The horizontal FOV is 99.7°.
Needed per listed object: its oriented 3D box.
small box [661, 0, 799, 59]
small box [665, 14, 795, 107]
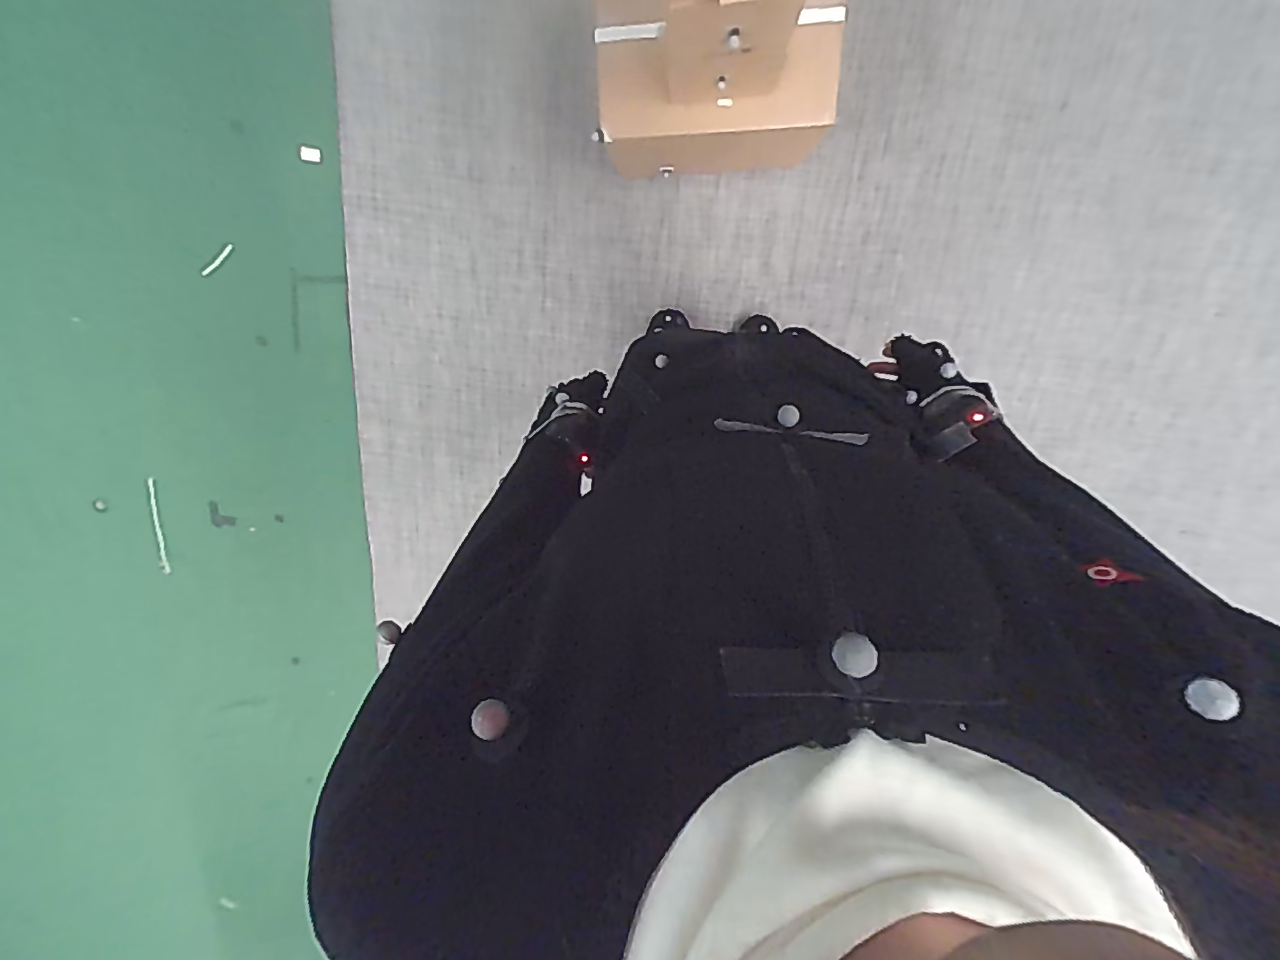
[{"bbox_3d":[0.107,-0.646,0.656,0.168,0.176,0.179,-3,108,6],"label":"small box"},{"bbox_3d":[0.126,-0.691,0.812,0.179,0.176,0.168,-5,108,6],"label":"small box"}]
